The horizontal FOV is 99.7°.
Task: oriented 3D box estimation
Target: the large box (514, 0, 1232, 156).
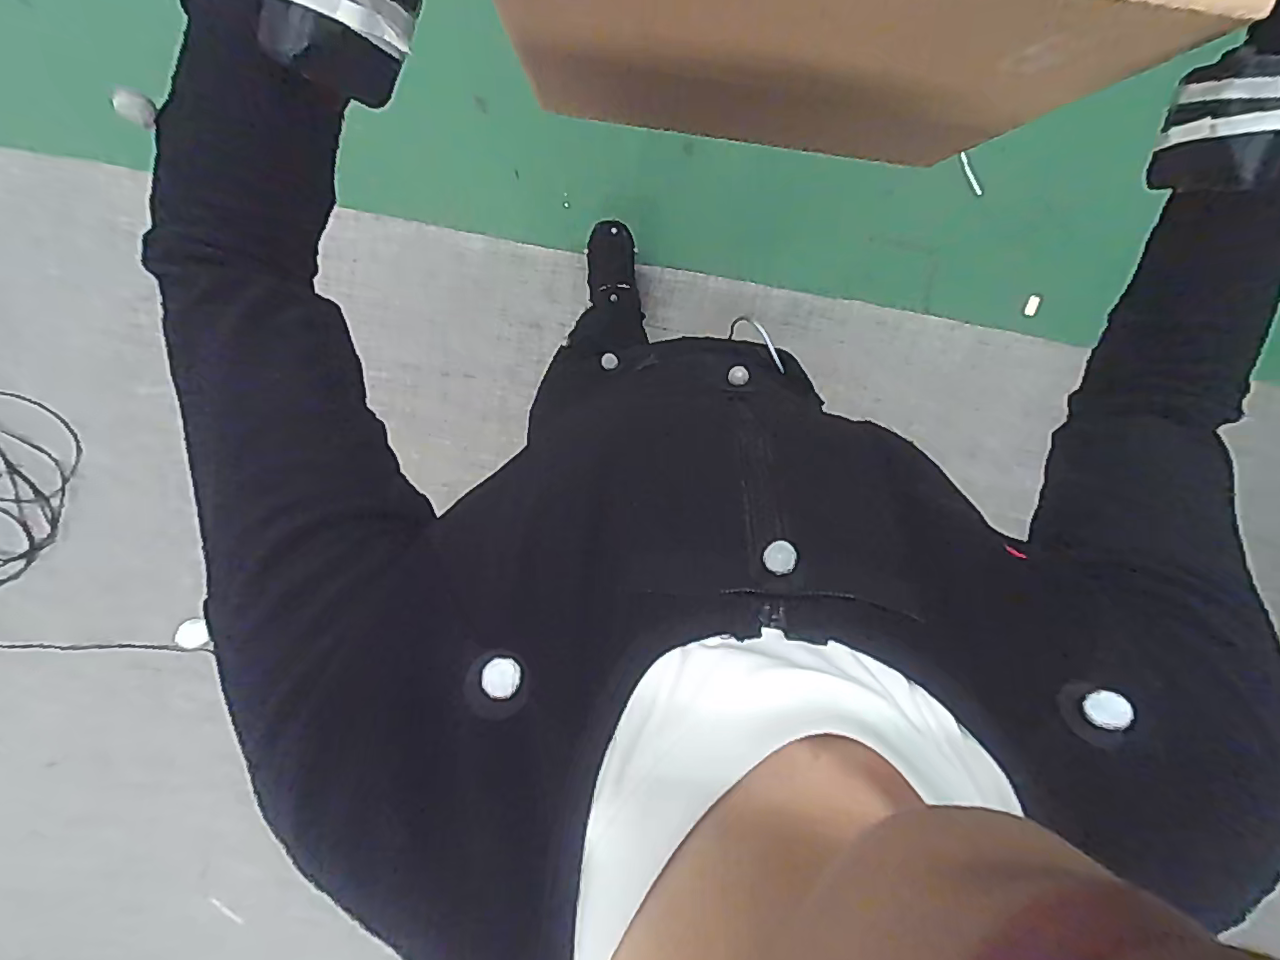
[{"bbox_3d":[0.123,-0.451,0.367,0.408,0.320,0.320,5,108,-4],"label":"large box"}]
